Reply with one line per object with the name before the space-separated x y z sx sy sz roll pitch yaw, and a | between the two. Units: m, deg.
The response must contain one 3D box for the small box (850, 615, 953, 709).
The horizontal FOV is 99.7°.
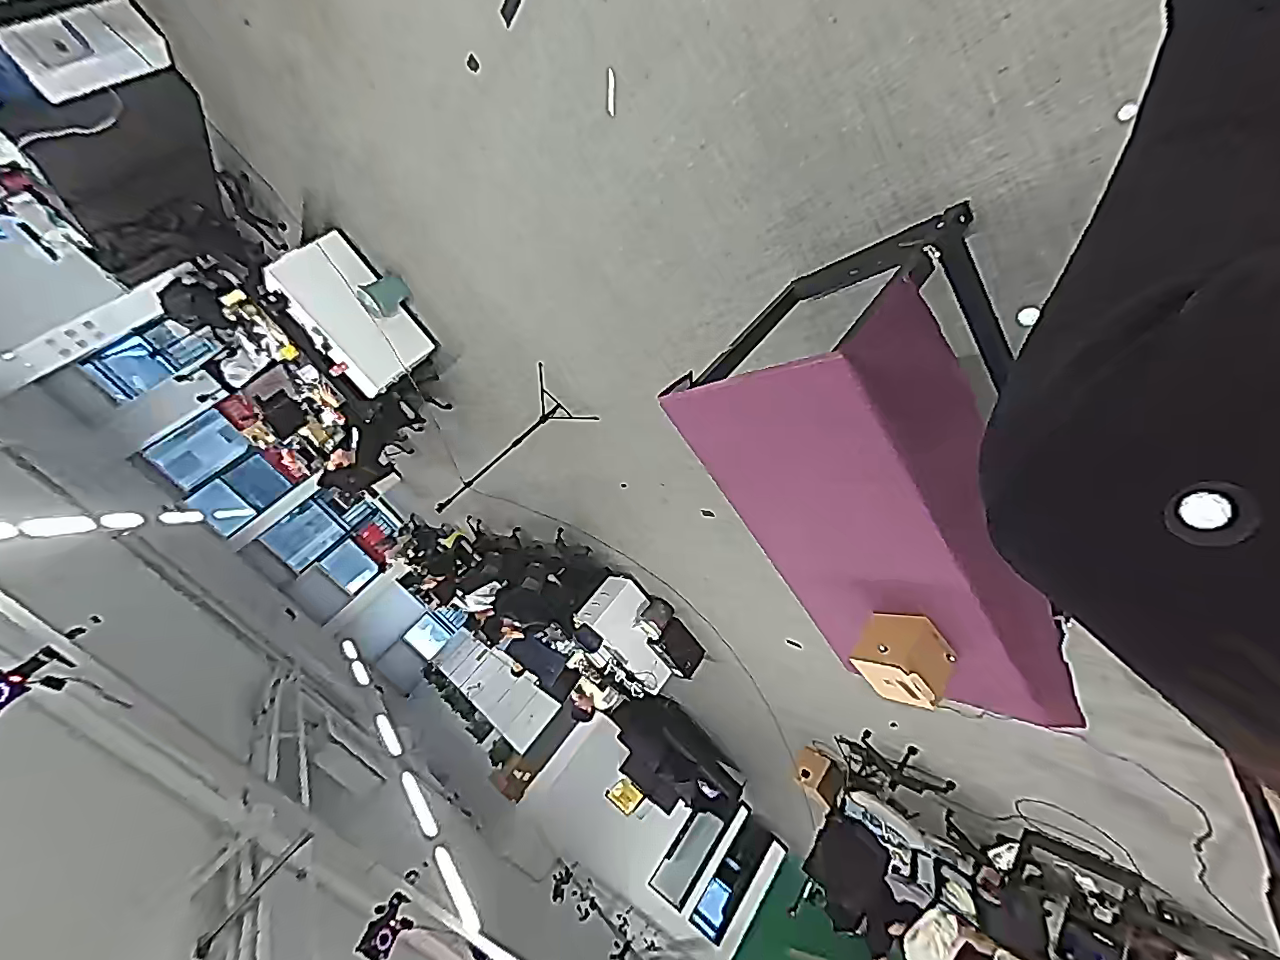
small box | 0.721 0.488 1.477 0.168 0.176 0.179 48 155 -11
